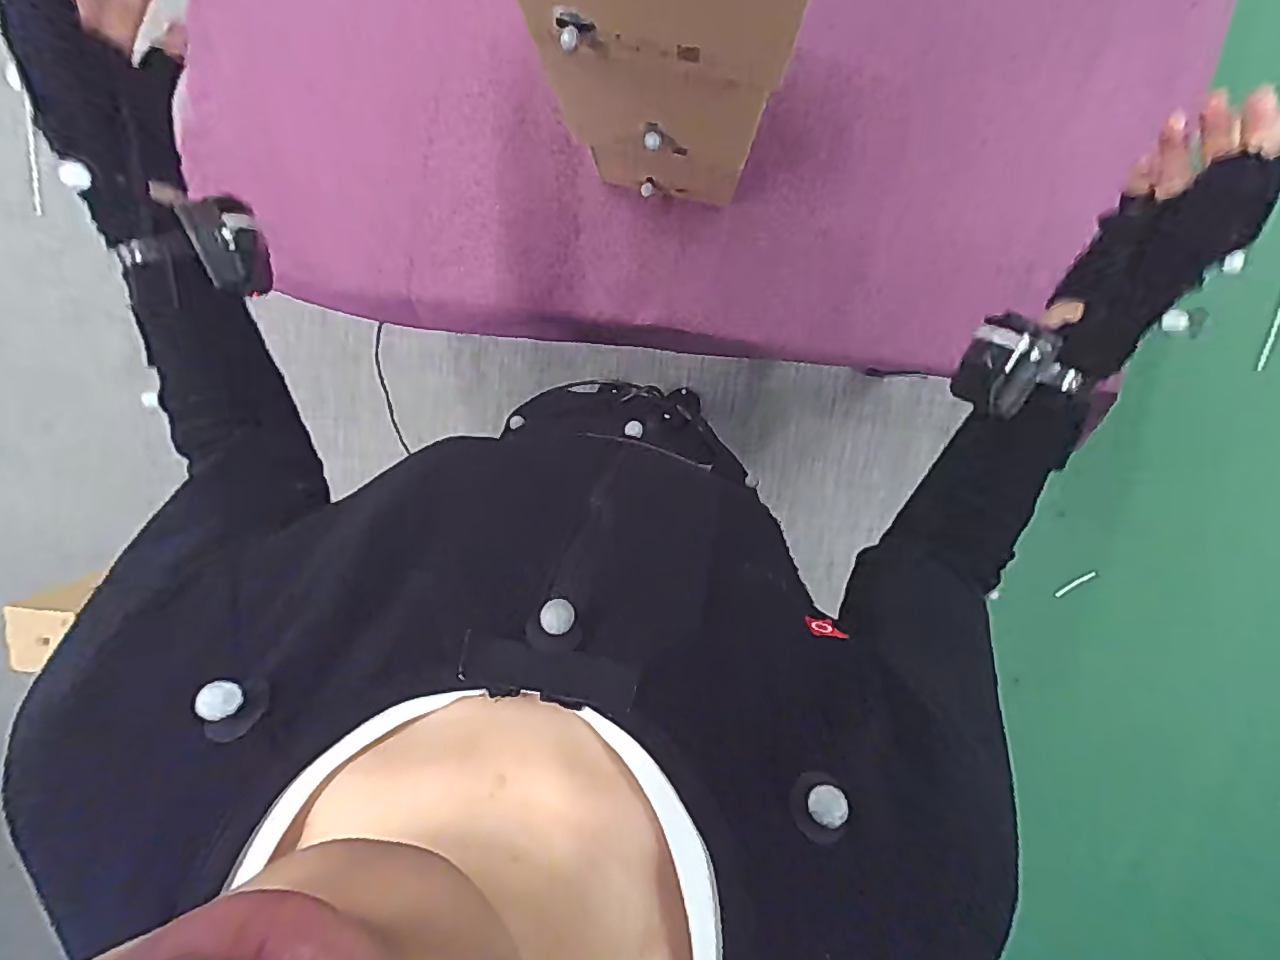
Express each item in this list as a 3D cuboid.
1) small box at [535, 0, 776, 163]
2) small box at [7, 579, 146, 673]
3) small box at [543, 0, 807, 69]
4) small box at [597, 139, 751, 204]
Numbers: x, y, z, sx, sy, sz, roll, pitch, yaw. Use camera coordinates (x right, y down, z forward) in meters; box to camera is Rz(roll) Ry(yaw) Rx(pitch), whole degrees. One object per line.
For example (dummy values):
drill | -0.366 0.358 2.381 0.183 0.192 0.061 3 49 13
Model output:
small box | 0.029 -0.384 0.420 0.168 0.176 0.179 11 100 2
small box | -1.403 0.359 1.356 0.179 0.176 0.168 6 101 2
small box | 0.024 -0.345 0.261 0.168 0.176 0.179 11 100 1
small box | 0.045 -0.427 0.578 0.168 0.176 0.179 12 101 1
